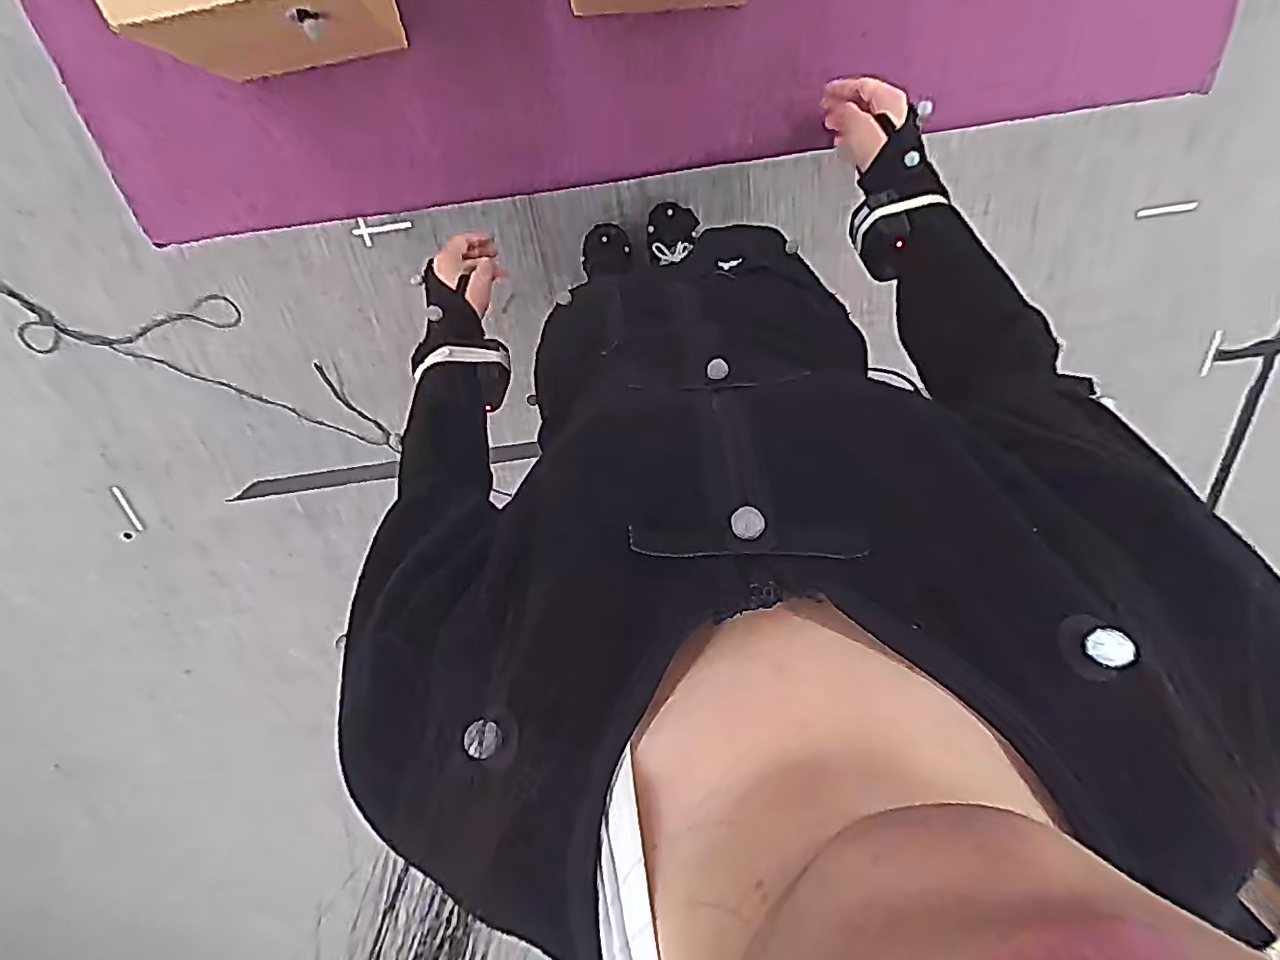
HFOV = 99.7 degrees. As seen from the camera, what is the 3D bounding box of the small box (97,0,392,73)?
[{"bbox_3d":[-0.319,-0.451,0.425,0.179,0.176,0.168,-11,116,0],"label":"small box"}]
